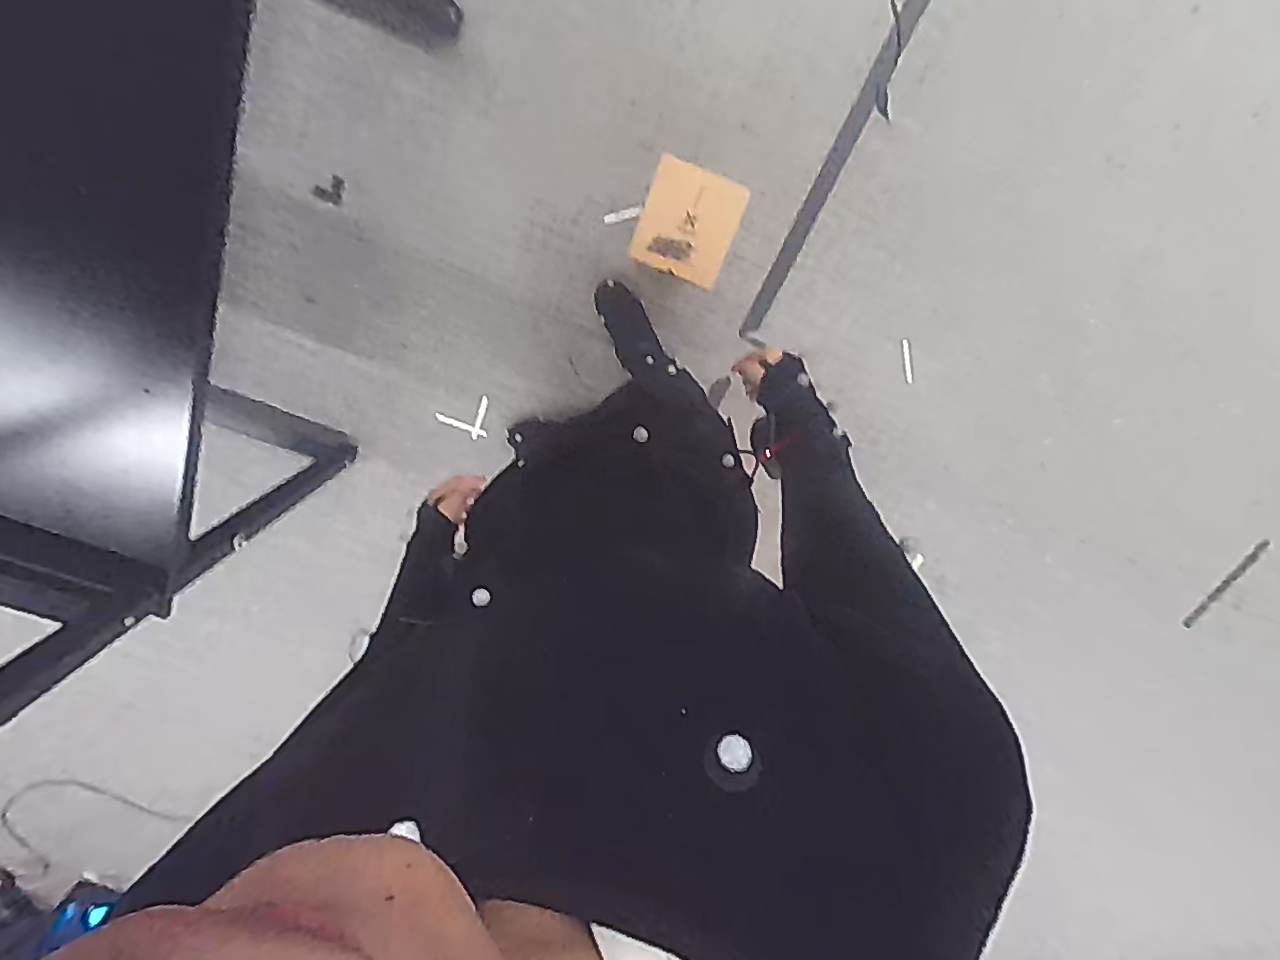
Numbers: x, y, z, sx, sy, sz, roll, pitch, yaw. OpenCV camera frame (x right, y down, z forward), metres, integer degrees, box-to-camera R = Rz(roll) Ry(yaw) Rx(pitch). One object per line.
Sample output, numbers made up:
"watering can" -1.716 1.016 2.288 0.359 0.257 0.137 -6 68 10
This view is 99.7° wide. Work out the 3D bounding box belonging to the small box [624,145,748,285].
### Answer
"small box" 0.079 -0.483 1.004 0.168 0.176 0.179 20 112 -9
